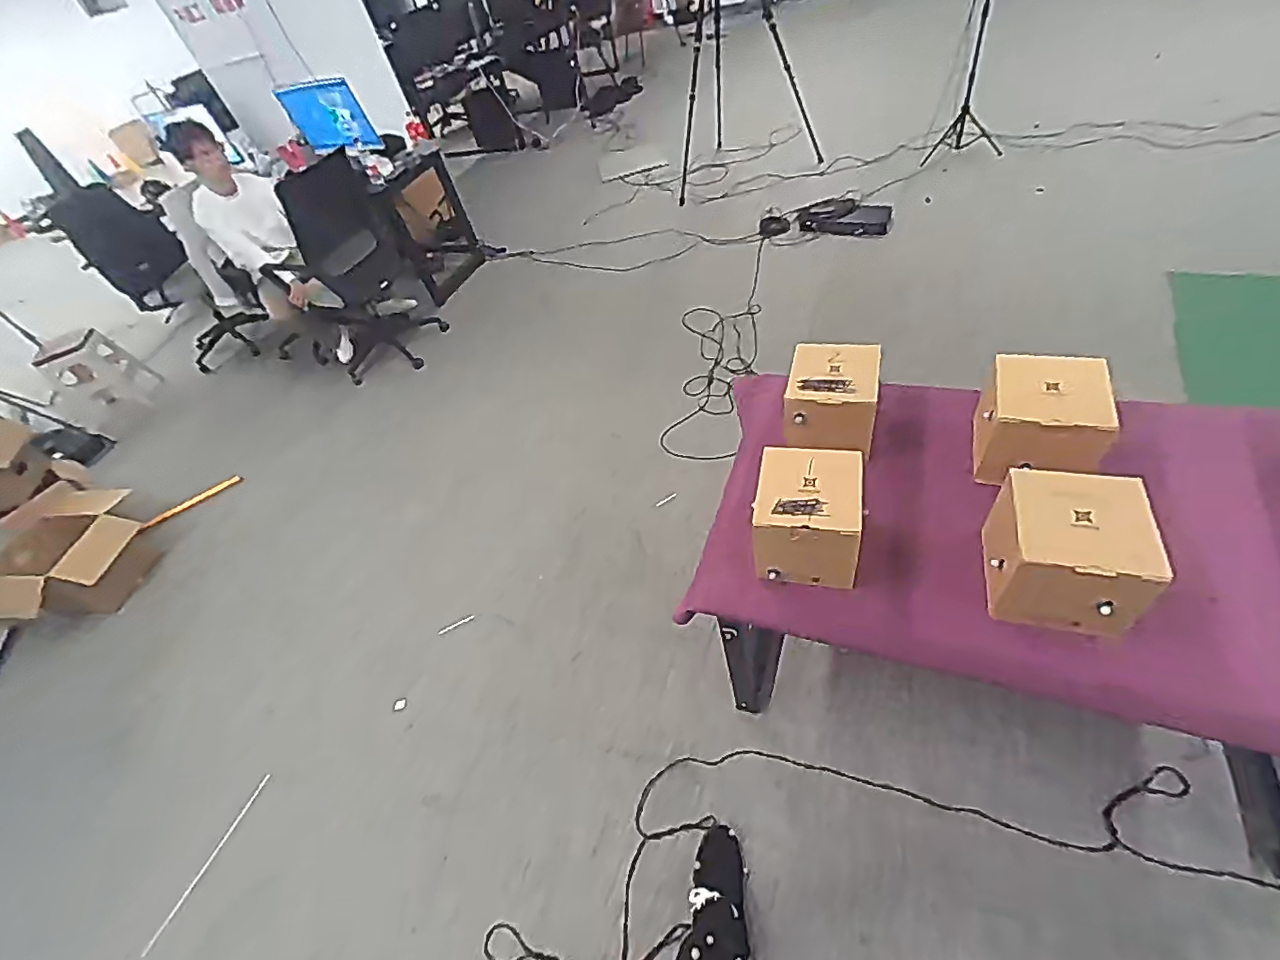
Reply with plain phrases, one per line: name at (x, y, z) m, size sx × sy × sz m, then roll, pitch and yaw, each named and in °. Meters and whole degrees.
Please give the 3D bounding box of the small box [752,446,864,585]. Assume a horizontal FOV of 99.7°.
small box at (0.294, 0.062, 0.938) m, size 0.168 × 0.176 × 0.179 m, roll 4°, pitch 49°, yaw 19°

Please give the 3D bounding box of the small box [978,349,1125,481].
small box at (0.717, -0.109, 0.966) m, size 0.168 × 0.176 × 0.179 m, roll 8°, pitch 54°, yaw 22°

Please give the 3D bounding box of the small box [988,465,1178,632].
small box at (0.635, 0.103, 0.803) m, size 0.168 × 0.176 × 0.179 m, roll 6°, pitch 51°, yaw 21°
